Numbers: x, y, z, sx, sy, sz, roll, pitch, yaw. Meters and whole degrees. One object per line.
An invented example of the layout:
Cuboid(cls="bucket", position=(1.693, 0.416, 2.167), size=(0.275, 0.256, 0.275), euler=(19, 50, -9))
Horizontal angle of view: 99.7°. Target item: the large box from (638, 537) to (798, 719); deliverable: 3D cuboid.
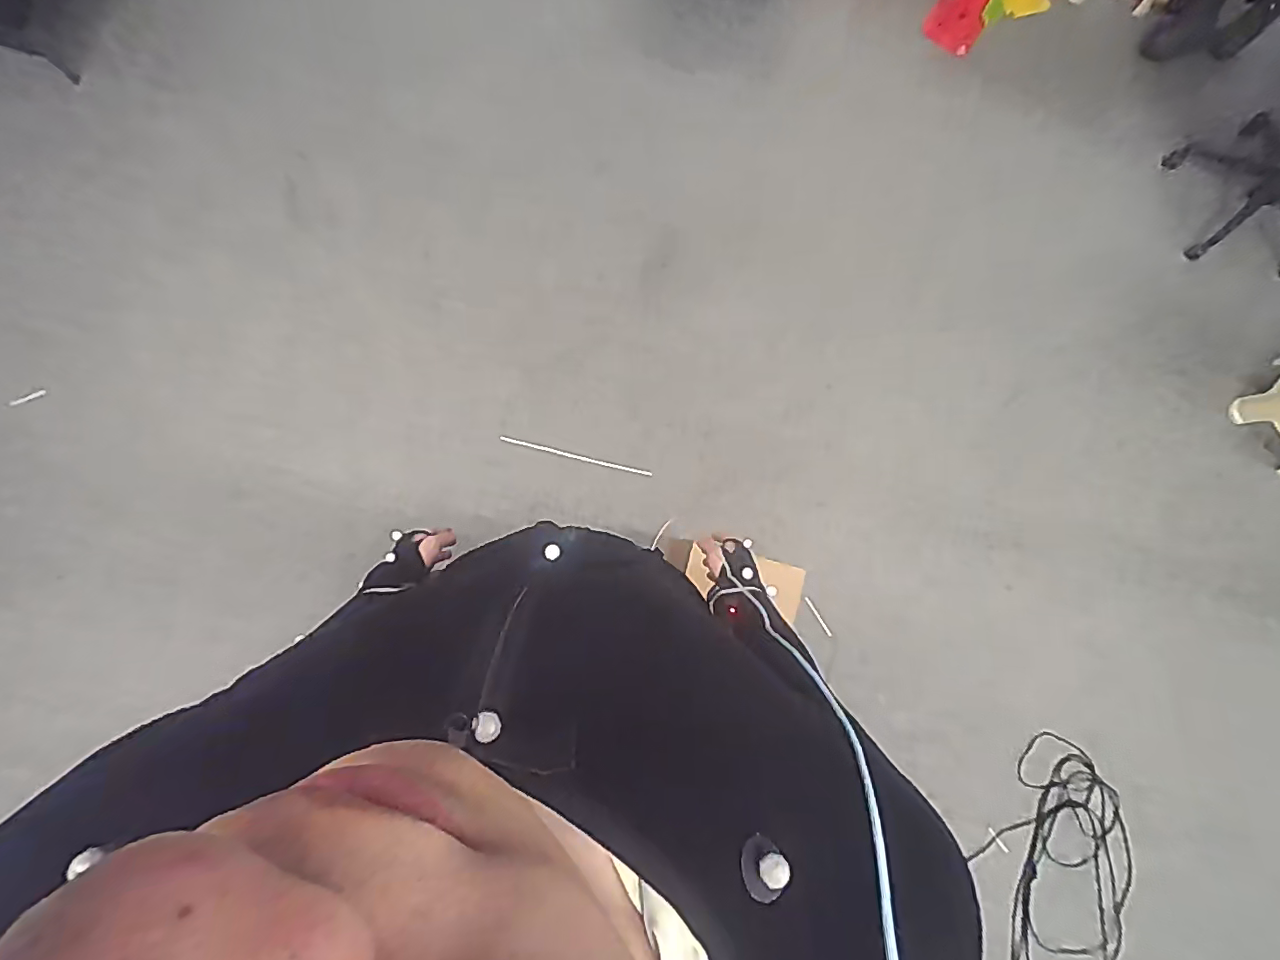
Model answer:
Cuboid(cls="large box", position=(0.206, 0.391, 1.528), size=(0.320, 0.320, 0.408), euler=(16, 83, -5))
